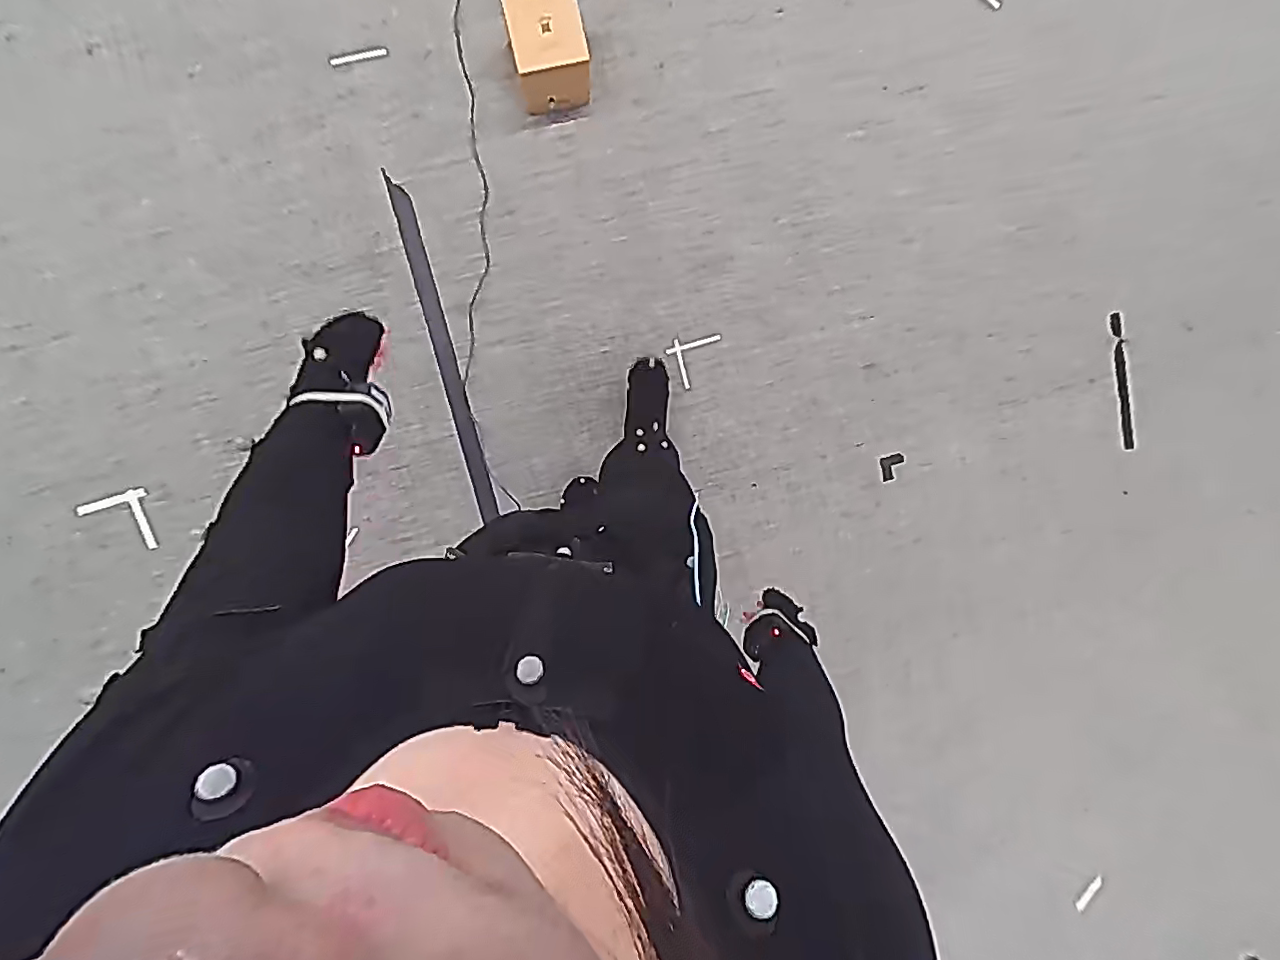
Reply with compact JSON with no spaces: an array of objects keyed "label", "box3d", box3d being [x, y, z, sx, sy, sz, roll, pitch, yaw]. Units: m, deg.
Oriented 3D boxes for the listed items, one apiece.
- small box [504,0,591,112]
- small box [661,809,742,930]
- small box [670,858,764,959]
[{"label":"small box","box3d":[-0.214,-1.016,1.276,0.168,0.176,0.179,-13,98,-2]},{"label":"small box","box3d":[0.152,0.960,1.341,0.179,0.176,0.168,-11,98,-4]},{"label":"small box","box3d":[0.169,0.980,1.179,0.168,0.176,0.179,-13,99,-3]}]
